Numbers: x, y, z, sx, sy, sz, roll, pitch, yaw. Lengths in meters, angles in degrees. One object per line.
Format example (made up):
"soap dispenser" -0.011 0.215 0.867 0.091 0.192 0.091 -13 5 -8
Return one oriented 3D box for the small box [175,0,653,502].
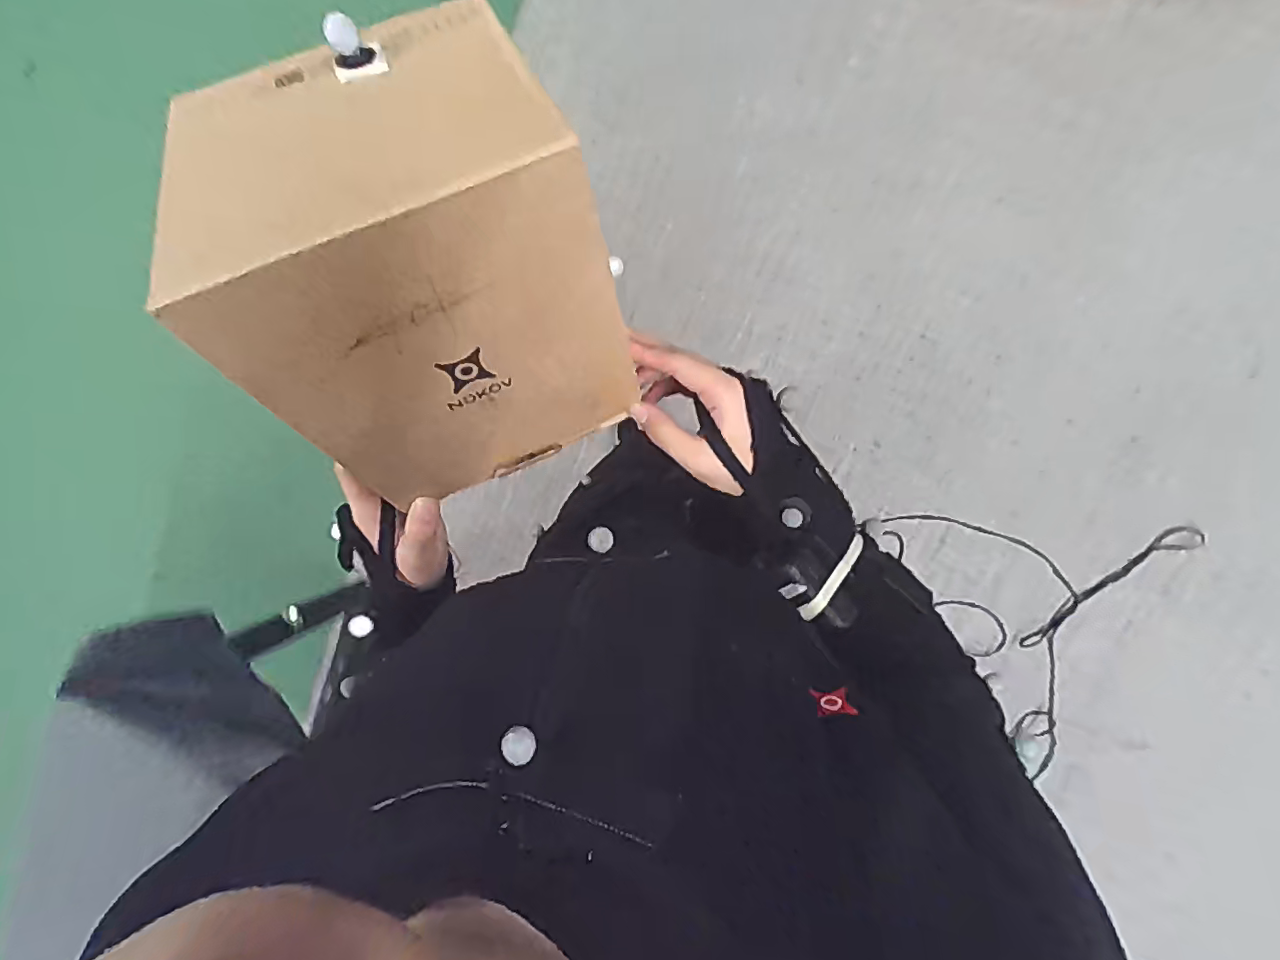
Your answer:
"small box" -0.106 -0.121 0.306 0.168 0.179 0.176 -24 60 -4
